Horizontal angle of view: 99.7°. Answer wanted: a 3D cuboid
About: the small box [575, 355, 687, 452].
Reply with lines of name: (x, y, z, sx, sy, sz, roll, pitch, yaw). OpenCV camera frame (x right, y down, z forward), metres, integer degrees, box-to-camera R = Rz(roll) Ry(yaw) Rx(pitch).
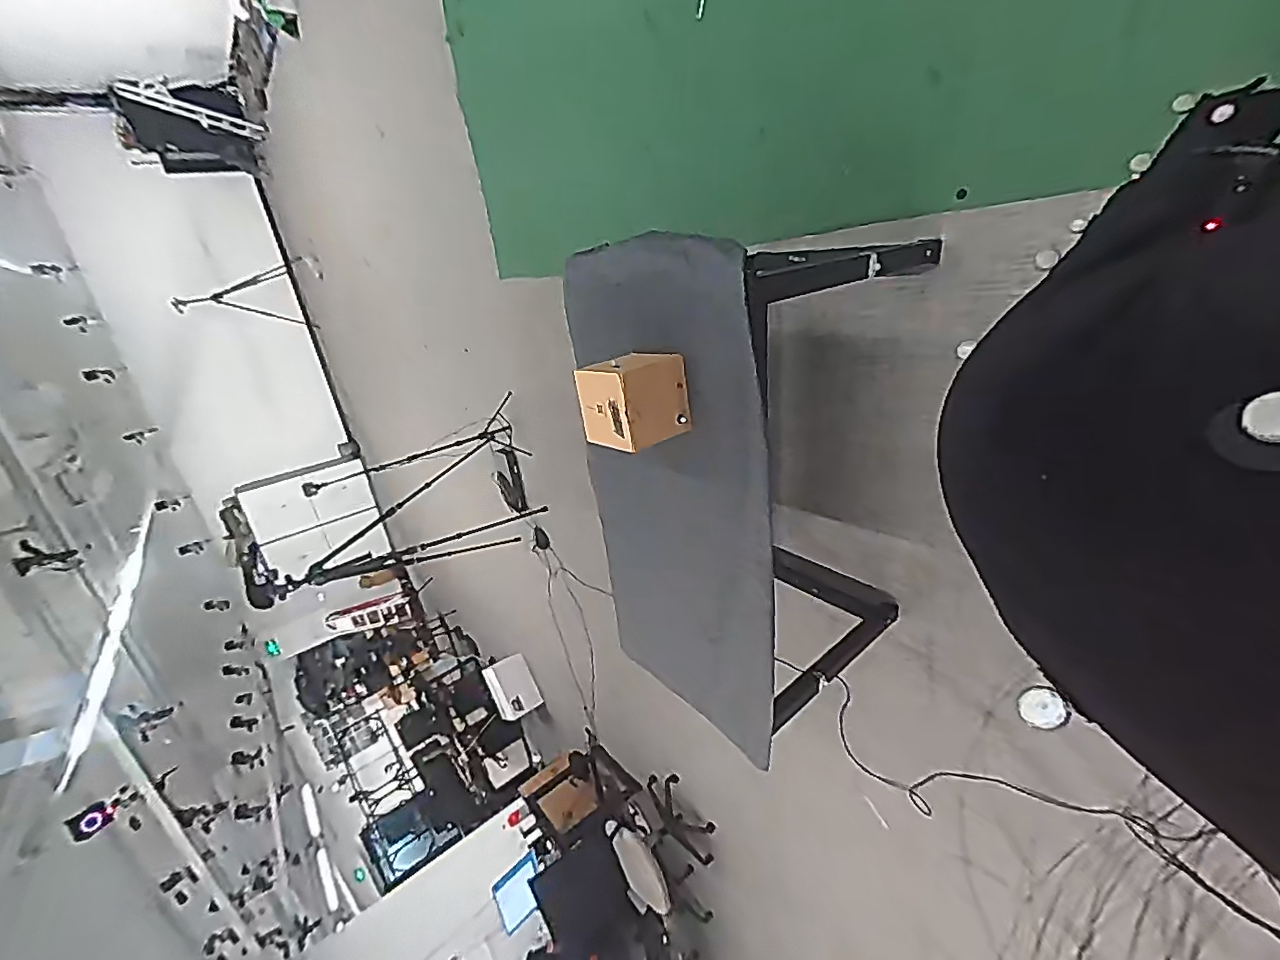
small box: (-0.013, -0.173, 1.171, 0.179, 0.176, 0.168, 18, 124, 51)
